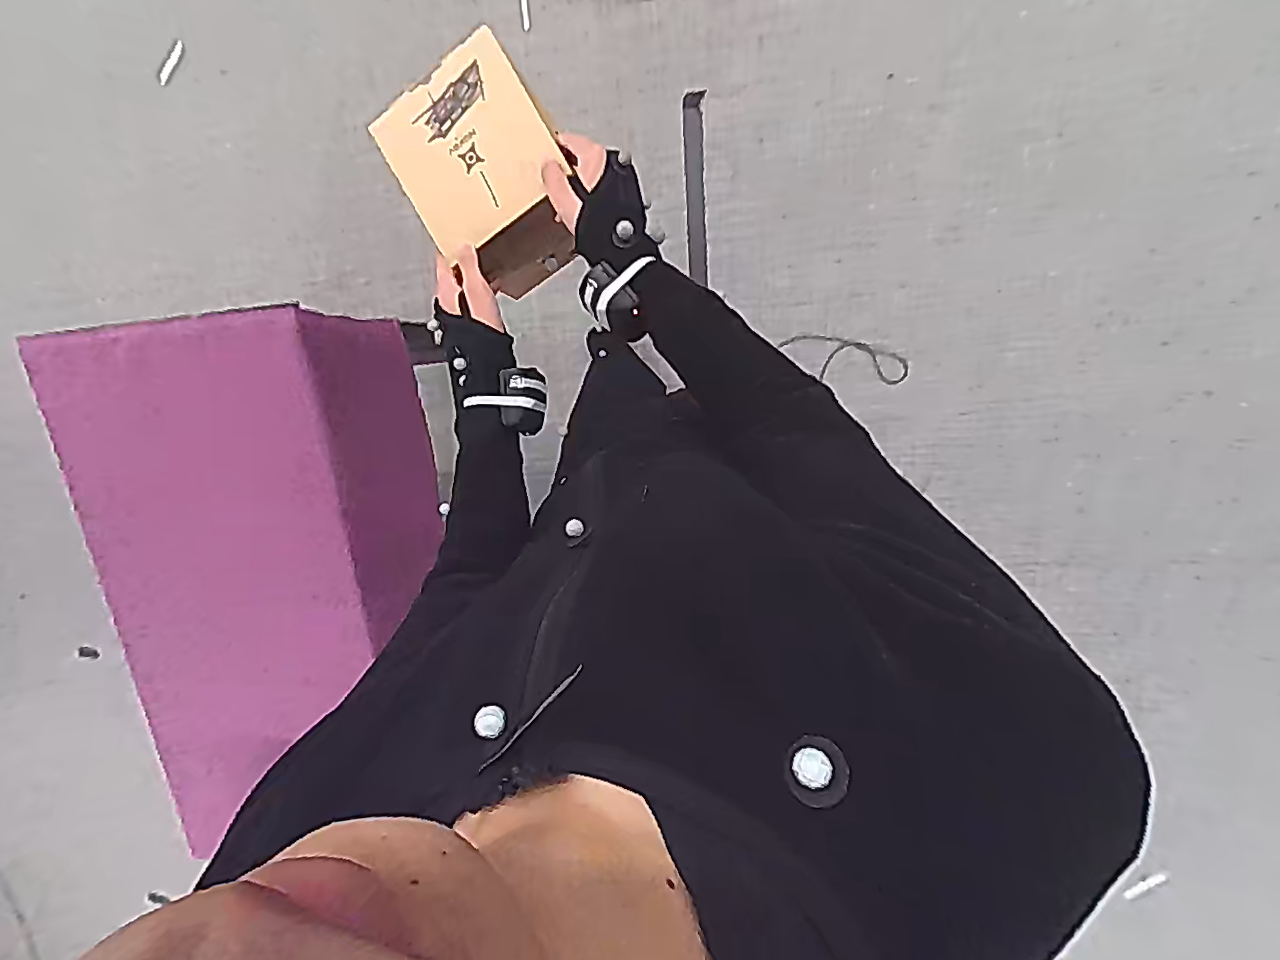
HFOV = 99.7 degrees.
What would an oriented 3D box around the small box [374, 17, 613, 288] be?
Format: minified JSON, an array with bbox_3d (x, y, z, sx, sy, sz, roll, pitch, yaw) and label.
[{"bbox_3d":[-0.155,-0.352,0.625,0.168,0.176,0.179,-29,91,15],"label":"small box"}]
